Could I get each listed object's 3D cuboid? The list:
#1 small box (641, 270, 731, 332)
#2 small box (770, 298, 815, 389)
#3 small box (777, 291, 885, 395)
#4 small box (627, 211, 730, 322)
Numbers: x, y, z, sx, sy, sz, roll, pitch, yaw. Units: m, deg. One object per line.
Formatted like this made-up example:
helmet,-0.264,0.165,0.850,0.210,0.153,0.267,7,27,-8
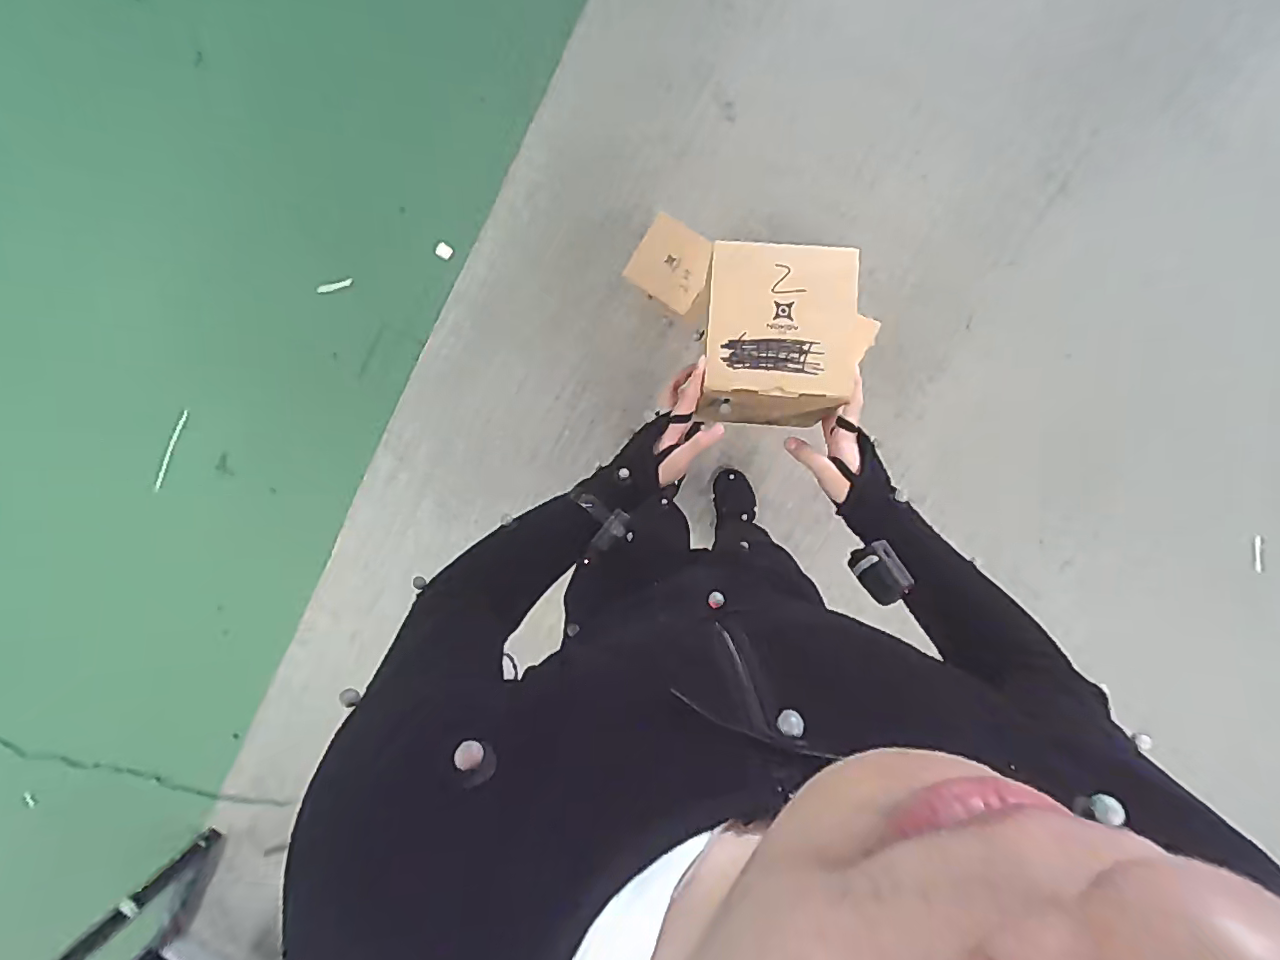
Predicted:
small box,0.125,-0.512,1.446,0.179,0.176,0.168,33,101,2
small box,0.460,-0.348,1.419,0.179,0.176,0.168,32,101,2
small box,0.434,-0.310,1.263,0.168,0.176,0.179,28,100,4
small box,0.094,-0.494,1.285,0.179,0.176,0.168,35,101,1
